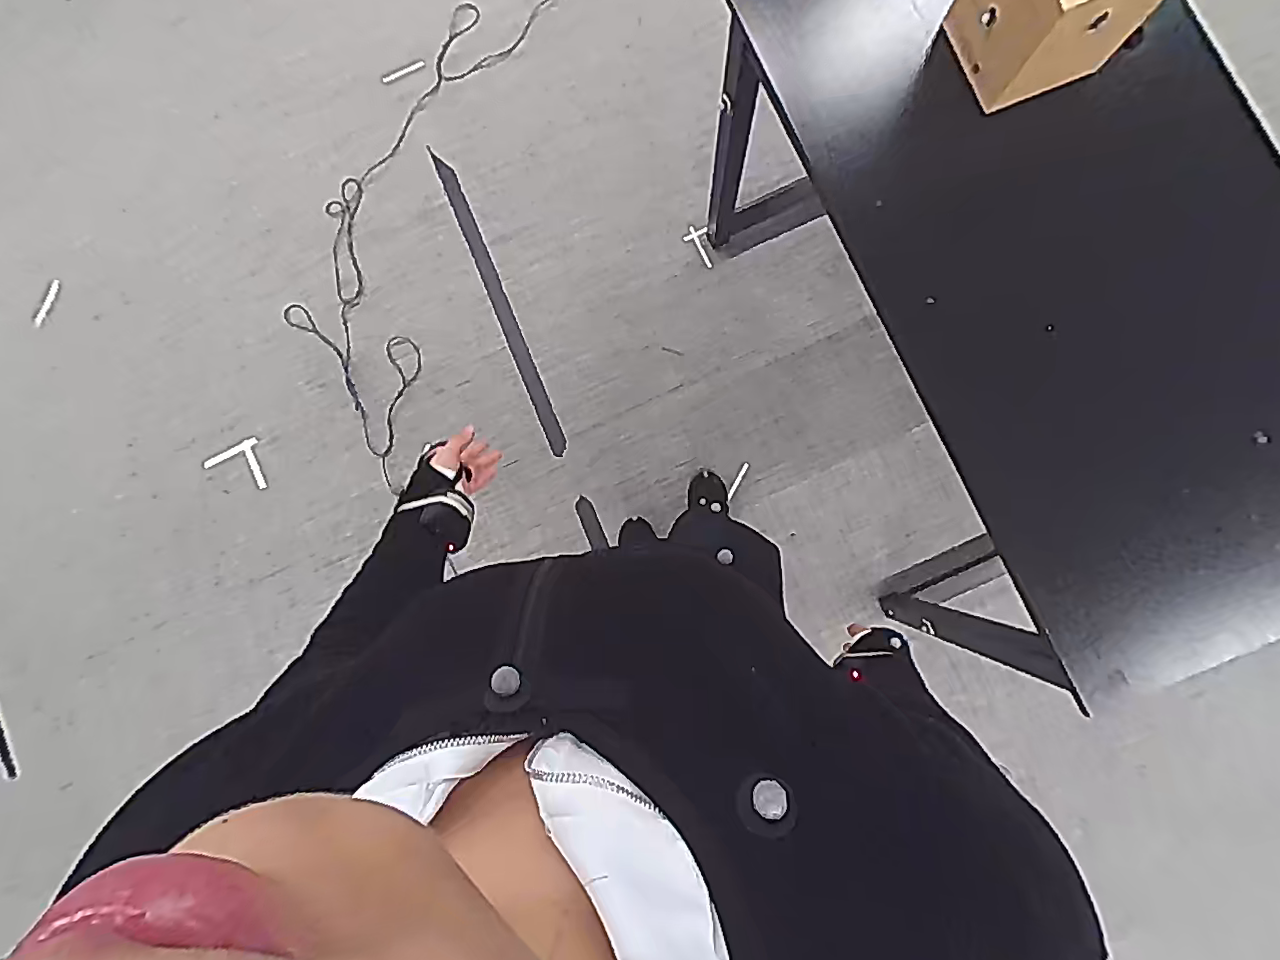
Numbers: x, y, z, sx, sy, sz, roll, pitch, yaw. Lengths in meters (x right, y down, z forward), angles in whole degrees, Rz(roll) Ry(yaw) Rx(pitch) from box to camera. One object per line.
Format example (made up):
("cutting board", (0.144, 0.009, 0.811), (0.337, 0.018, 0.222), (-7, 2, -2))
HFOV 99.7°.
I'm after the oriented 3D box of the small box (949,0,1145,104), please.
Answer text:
("small box", (0.555, -0.661, 0.730), (0.179, 0.176, 0.168), (-21, 84, 1))
